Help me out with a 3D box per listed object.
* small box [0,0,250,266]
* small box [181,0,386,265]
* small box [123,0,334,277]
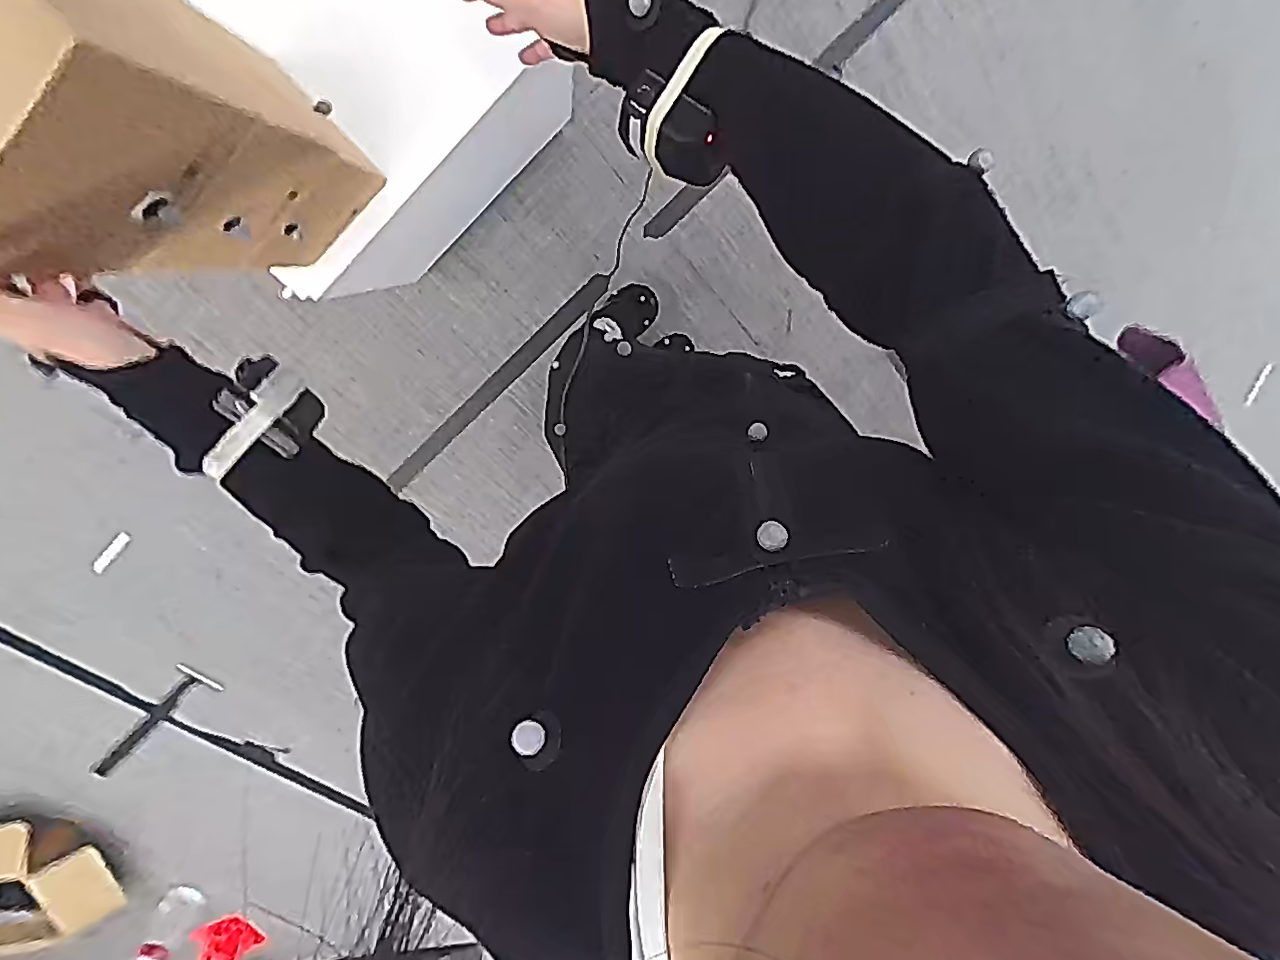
[{"bbox_3d":[-0.391,-0.243,0.315,0.168,0.176,0.179,-42,112,10],"label":"small box"},{"bbox_3d":[-0.432,-0.365,0.615,0.168,0.176,0.179,-42,110,10],"label":"small box"},{"bbox_3d":[-0.410,-0.303,0.465,0.168,0.176,0.179,-43,111,10],"label":"small box"}]
